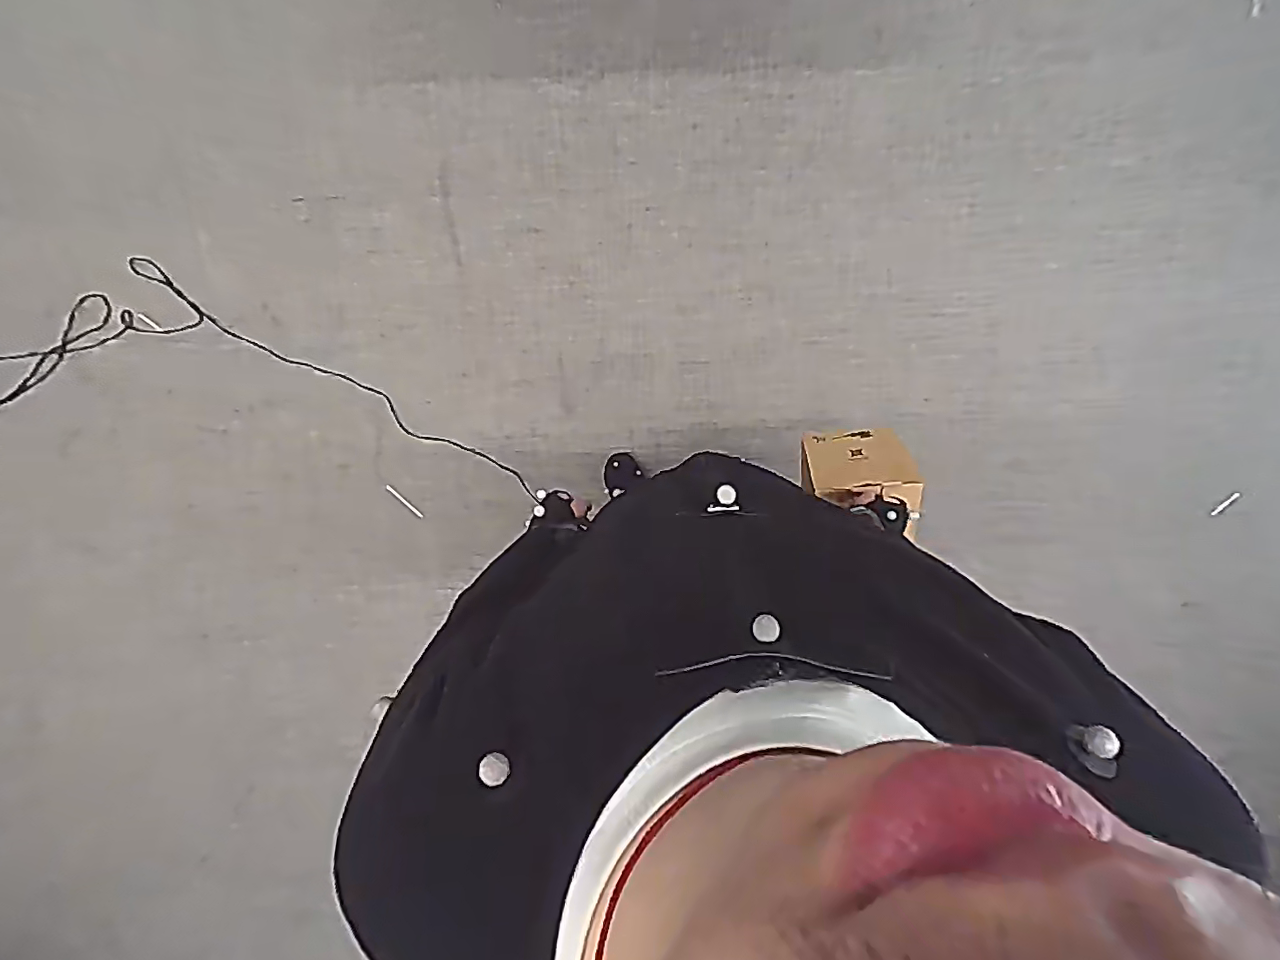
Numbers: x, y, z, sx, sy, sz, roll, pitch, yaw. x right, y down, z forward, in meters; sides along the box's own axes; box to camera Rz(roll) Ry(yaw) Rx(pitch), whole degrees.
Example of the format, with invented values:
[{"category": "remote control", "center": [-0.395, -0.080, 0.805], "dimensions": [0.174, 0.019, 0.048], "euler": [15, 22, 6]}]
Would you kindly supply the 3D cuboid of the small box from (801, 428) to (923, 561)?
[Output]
[{"category": "small box", "center": [0.390, 0.031, 0.969], "dimensions": [0.168, 0.179, 0.176], "euler": [-7, 125, 11]}]
